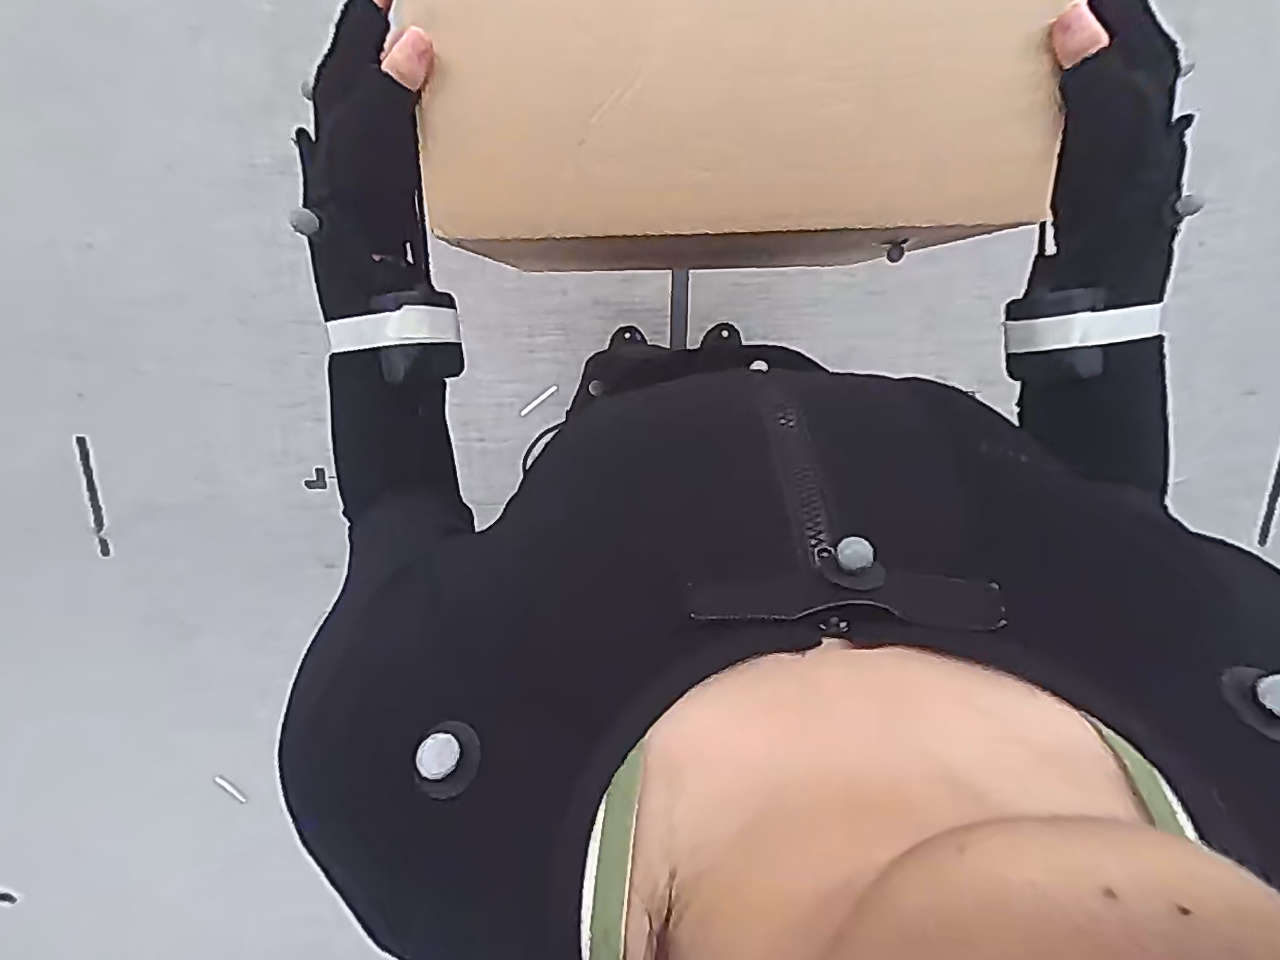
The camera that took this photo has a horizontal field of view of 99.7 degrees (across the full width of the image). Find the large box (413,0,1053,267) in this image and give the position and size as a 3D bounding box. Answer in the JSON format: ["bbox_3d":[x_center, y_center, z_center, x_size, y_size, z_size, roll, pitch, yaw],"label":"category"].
[{"bbox_3d":[0.057,-0.363,0.466,0.408,0.320,0.320,-2,107,-1],"label":"large box"}]

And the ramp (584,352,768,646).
[{"bbox_3d":[0.101,0.114,1.634,0.509,0.206,0.991,-2,105,0],"label":"ramp"}]
